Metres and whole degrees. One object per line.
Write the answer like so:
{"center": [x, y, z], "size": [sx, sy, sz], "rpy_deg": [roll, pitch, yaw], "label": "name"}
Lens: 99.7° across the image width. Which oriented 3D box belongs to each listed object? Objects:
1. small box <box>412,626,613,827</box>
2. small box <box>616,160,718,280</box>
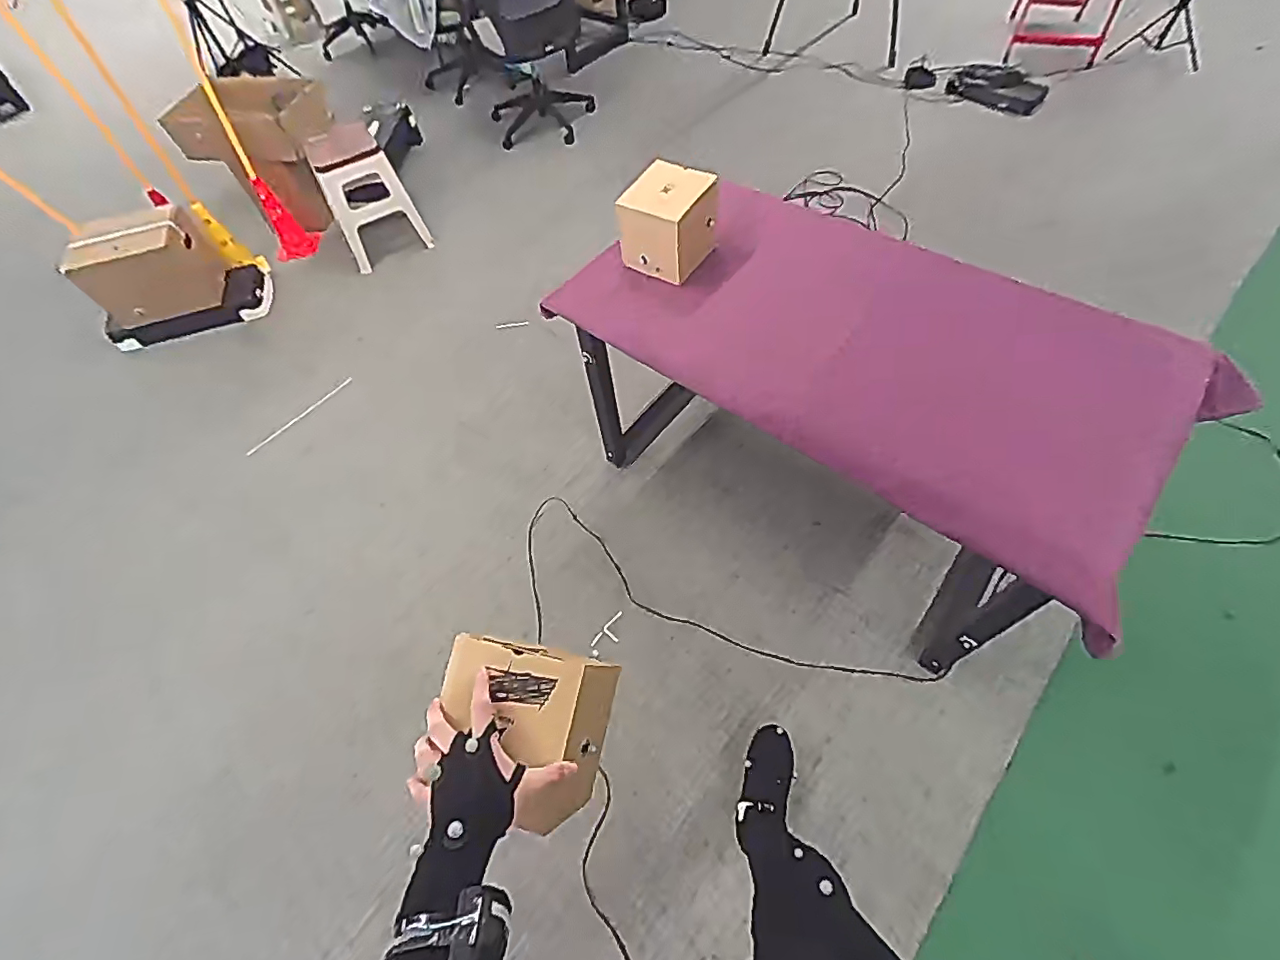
{"center": [-0.143, 0.293, 0.679], "size": [0.168, 0.176, 0.179], "rpy_deg": [9, 74, 16], "label": "small box"}
{"center": [0.066, -0.602, 1.258], "size": [0.168, 0.176, 0.179], "rpy_deg": [28, 66, 22], "label": "small box"}
